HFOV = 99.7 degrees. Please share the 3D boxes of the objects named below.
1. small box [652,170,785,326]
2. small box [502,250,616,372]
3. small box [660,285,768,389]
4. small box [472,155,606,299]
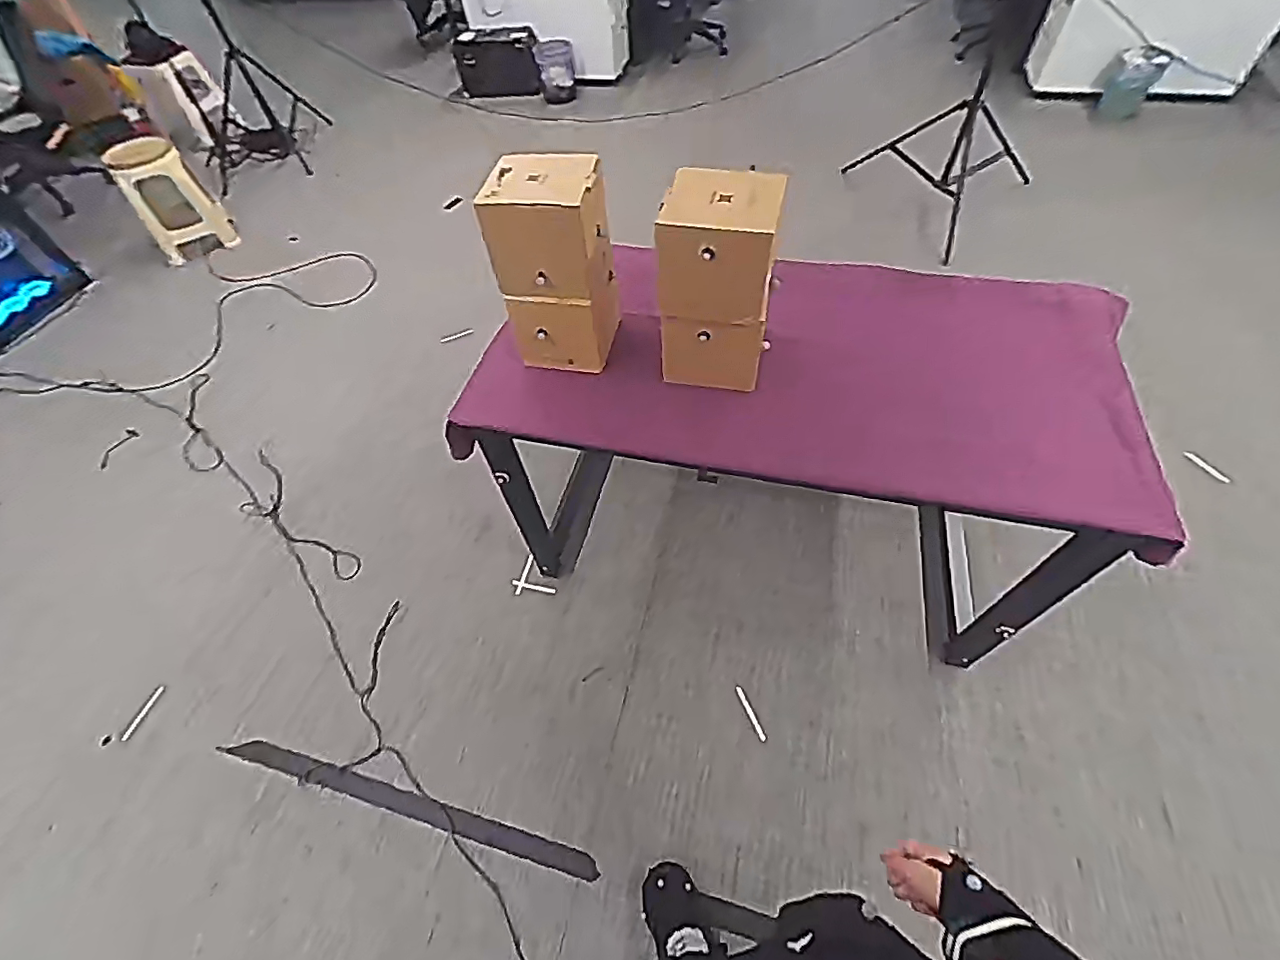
[{"bbox_3d":[0.125,-0.373,0.876,0.179,0.176,0.168,11,57,10],"label":"small box"},{"bbox_3d":[-0.148,-0.334,1.069,0.168,0.176,0.179,7,55,9],"label":"small box"},{"bbox_3d":[0.139,-0.290,1.015,0.179,0.176,0.168,9,56,9],"label":"small box"},{"bbox_3d":[-0.162,-0.436,0.941,0.179,0.176,0.168,6,55,7],"label":"small box"}]
